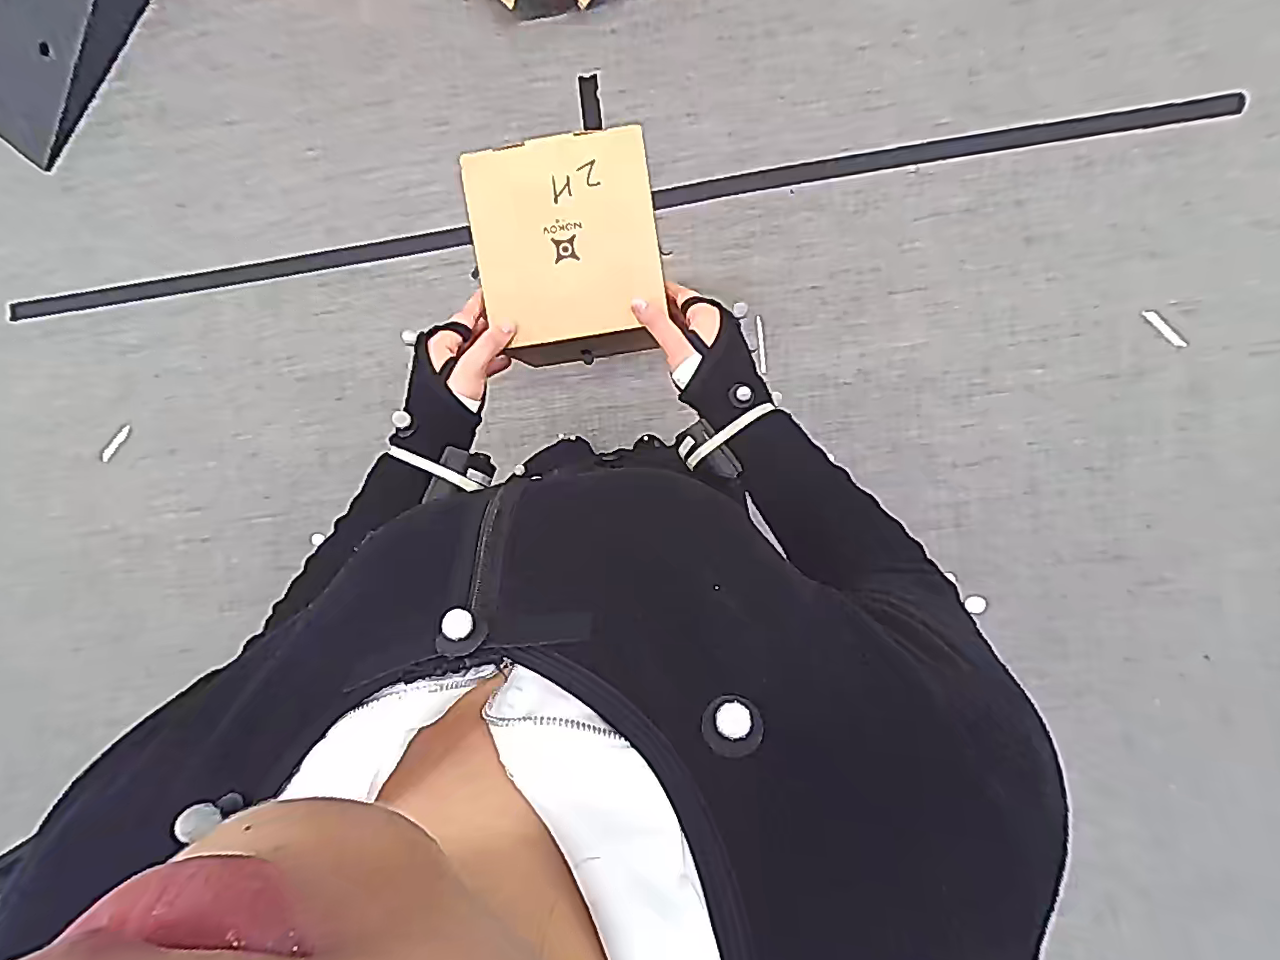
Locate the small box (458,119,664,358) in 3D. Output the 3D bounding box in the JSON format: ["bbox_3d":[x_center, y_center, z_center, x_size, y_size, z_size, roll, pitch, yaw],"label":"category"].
[{"bbox_3d":[-0.066,-0.228,0.563,0.168,0.176,0.179,-9,95,3],"label":"small box"}]
